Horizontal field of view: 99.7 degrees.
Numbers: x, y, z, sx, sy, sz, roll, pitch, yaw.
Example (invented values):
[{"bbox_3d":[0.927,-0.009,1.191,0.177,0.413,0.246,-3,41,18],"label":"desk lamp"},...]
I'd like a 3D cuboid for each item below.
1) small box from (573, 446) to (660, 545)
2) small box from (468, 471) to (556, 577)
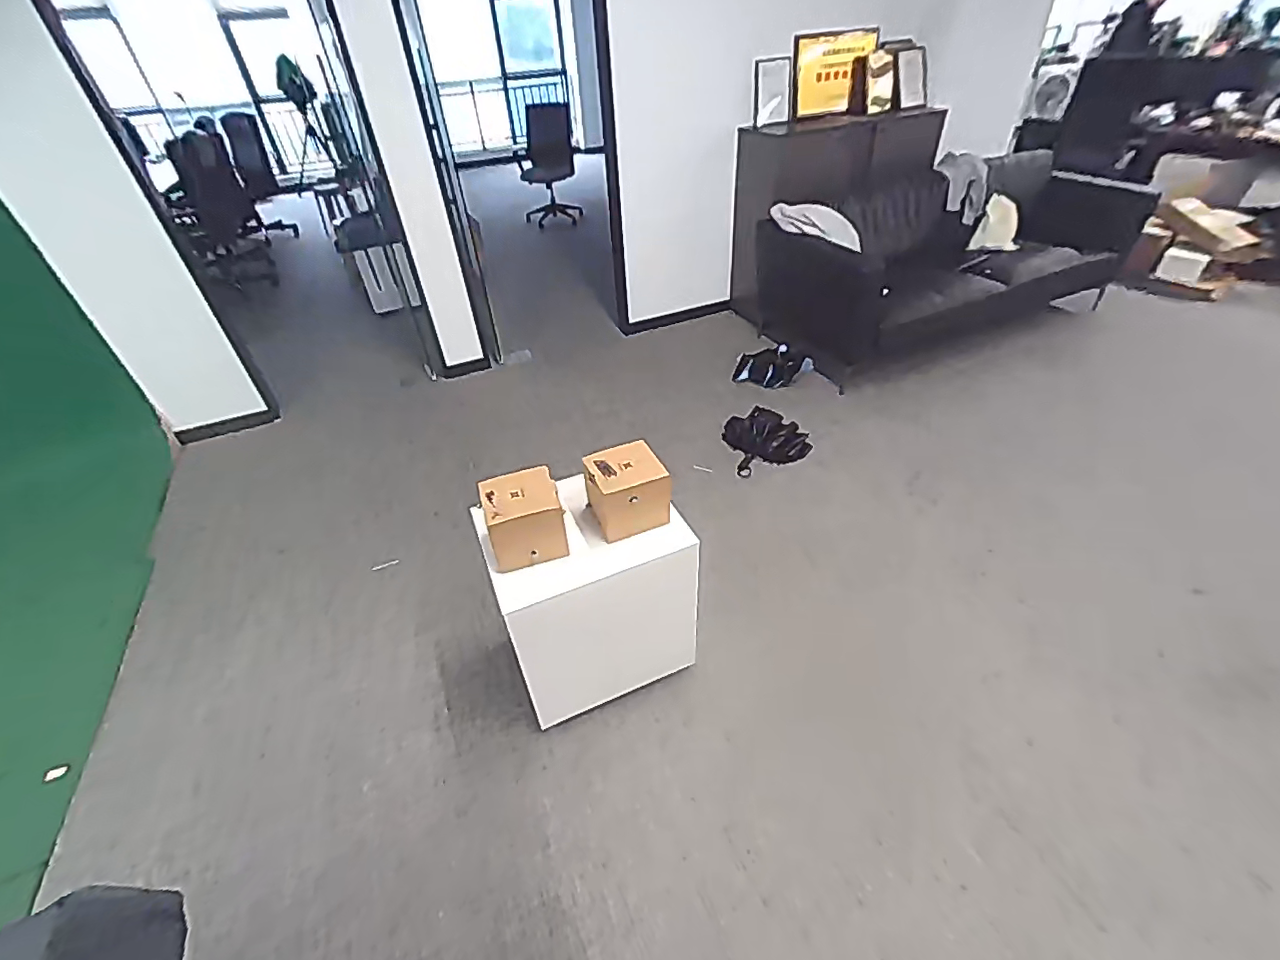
[{"bbox_3d":[-0.058,0.041,1.381,0.179,0.176,0.168,-16,42,-19],"label":"small box"},{"bbox_3d":[-0.304,0.105,1.304,0.179,0.176,0.168,-13,40,-17],"label":"small box"}]
